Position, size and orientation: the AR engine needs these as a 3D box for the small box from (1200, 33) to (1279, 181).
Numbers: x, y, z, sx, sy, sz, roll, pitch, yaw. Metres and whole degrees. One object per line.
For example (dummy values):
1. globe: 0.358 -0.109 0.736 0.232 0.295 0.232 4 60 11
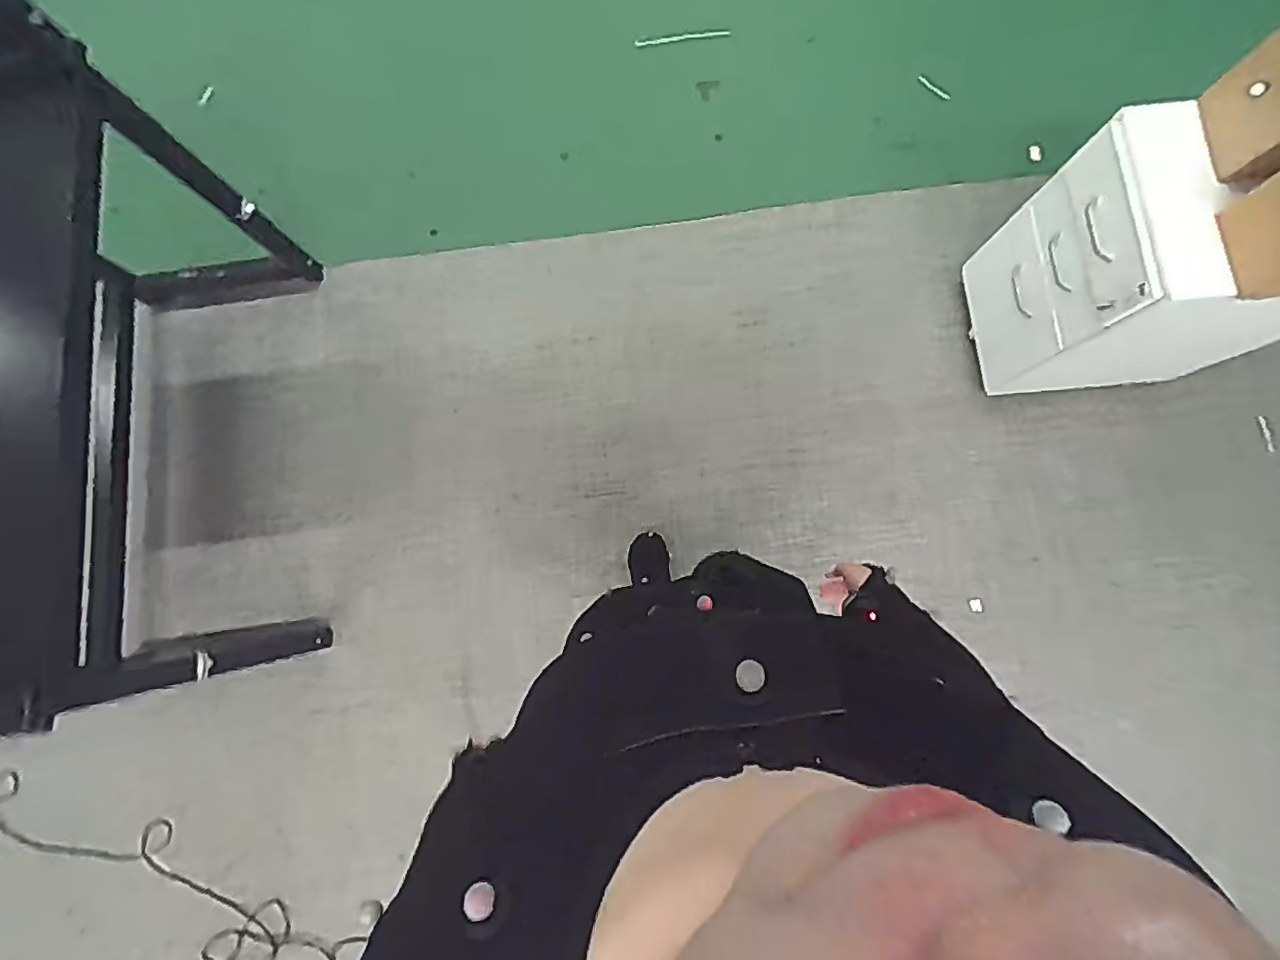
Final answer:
1. small box: 1.127 -0.652 0.924 0.168 0.176 0.179 -6 82 2
